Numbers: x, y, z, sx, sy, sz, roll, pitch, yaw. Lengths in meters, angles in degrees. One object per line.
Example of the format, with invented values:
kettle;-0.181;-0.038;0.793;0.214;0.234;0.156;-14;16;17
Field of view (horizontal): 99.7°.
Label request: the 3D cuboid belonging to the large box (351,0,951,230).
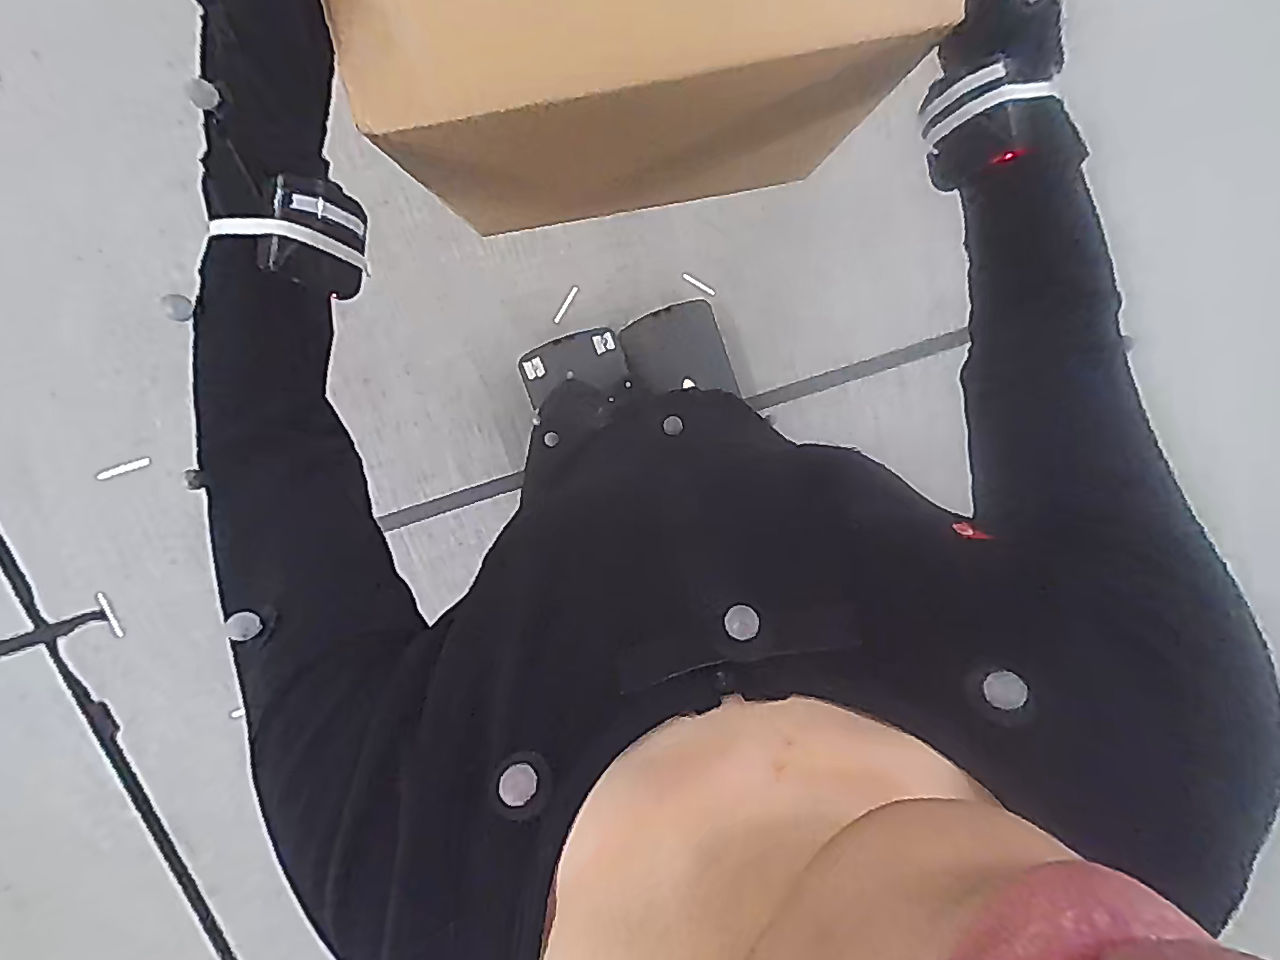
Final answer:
large box;-0.015;-0.453;0.482;0.408;0.320;0.320;-10;103;0
